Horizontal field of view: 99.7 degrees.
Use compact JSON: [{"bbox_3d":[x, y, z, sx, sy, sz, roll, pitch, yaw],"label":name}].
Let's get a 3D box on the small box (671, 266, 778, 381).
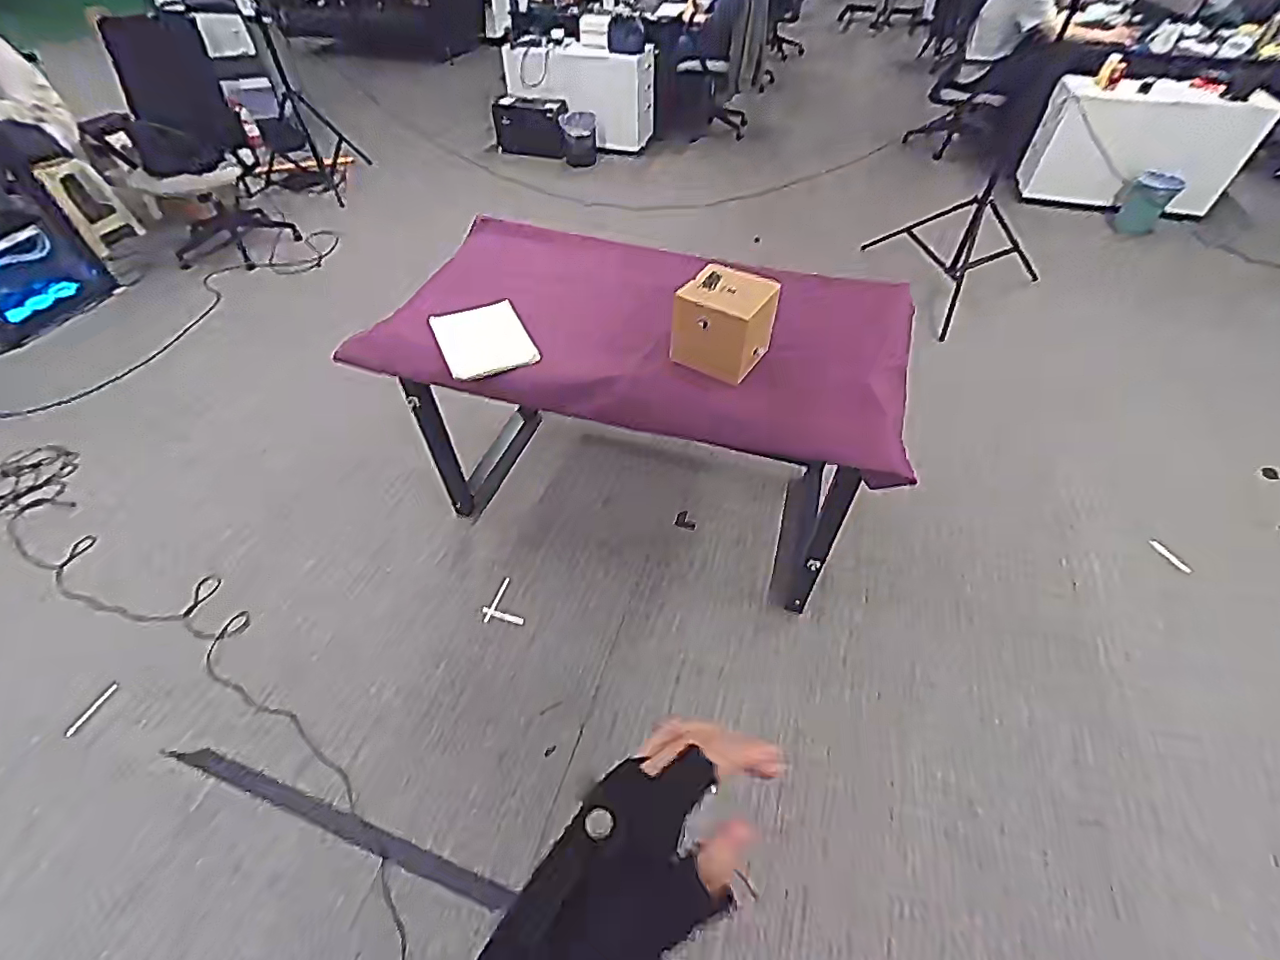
[{"bbox_3d":[0.181,-0.347,1.205,0.179,0.176,0.168,26,53,21],"label":"small box"}]
